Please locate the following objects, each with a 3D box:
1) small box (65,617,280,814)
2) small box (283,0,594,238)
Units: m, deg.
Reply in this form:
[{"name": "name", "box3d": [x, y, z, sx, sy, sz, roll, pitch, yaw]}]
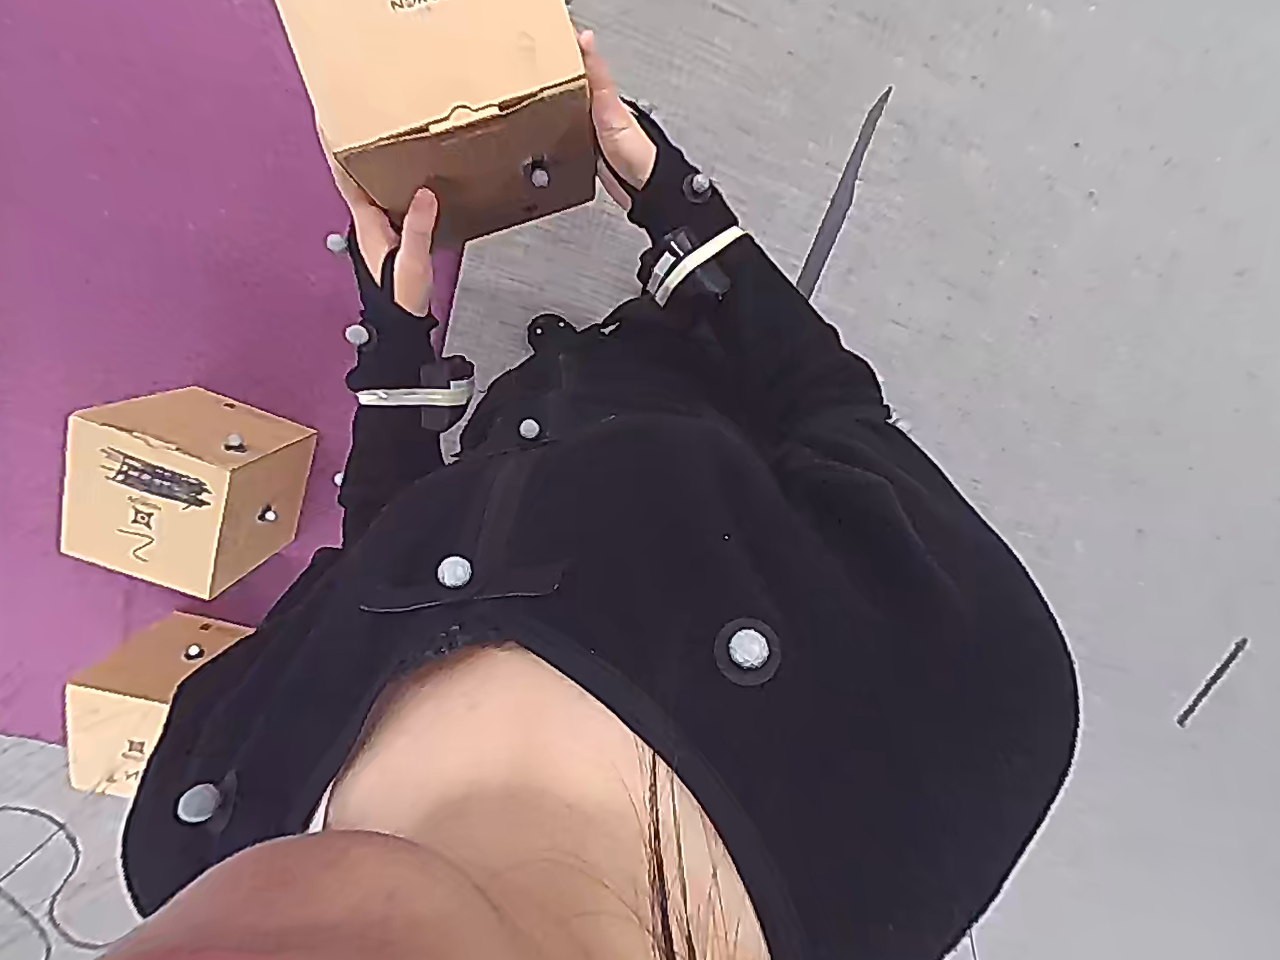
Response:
[{"name": "small box", "box3d": [-0.646, 0.322, 0.766, 0.168, 0.176, 0.179, 16, 108, -5]}, {"name": "small box", "box3d": [-0.135, -0.304, 0.402, 0.168, 0.176, 0.179, -19, 93, -3]}]
